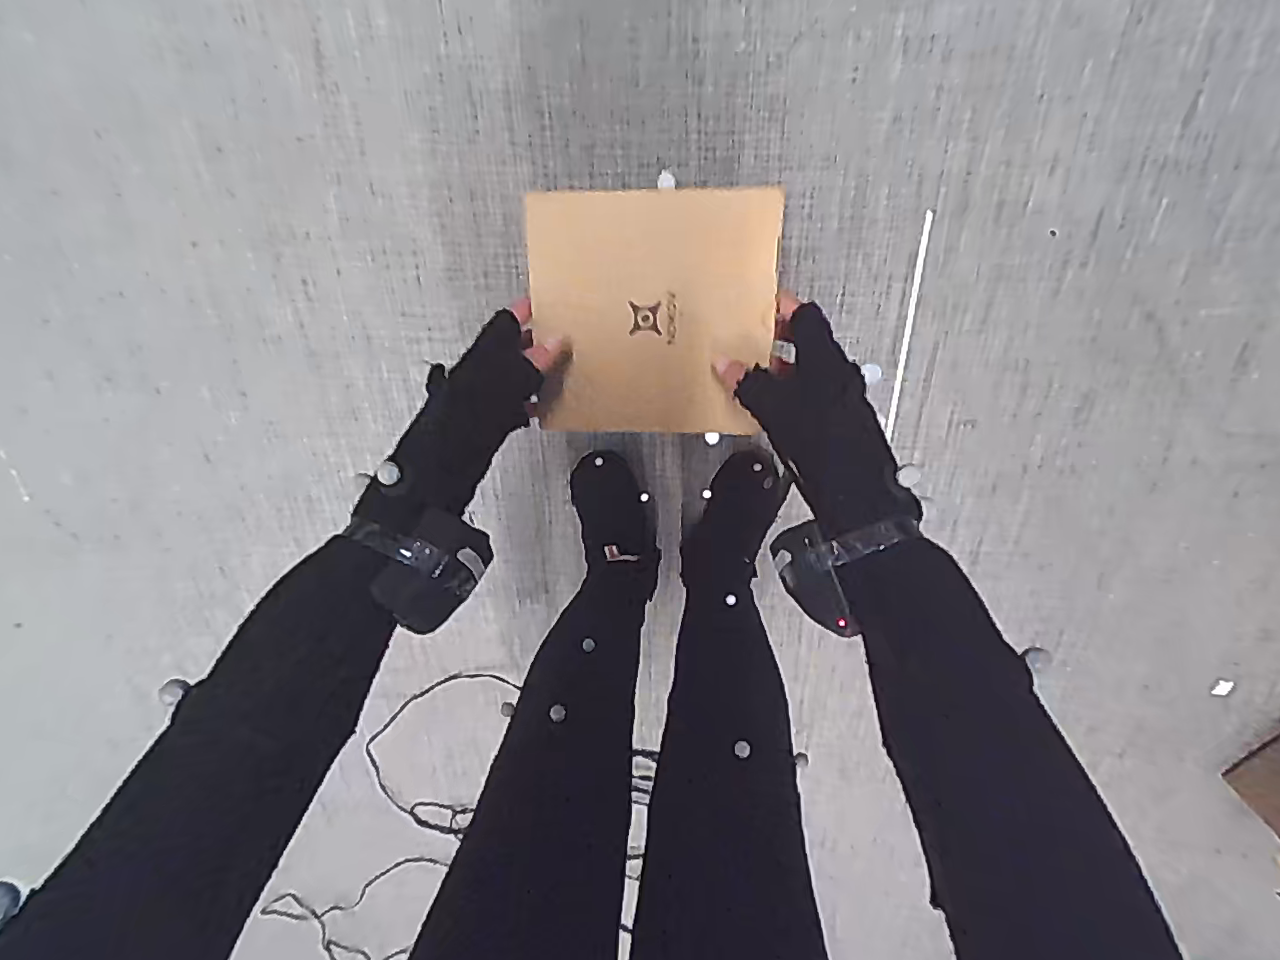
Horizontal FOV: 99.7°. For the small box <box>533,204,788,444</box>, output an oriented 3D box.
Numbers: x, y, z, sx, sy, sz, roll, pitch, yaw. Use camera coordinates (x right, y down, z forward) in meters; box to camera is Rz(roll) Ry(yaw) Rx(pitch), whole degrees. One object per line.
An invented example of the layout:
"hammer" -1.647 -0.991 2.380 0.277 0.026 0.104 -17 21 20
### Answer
"small box" 0.018 -0.130 0.463 0.179 0.176 0.168 1 107 4
